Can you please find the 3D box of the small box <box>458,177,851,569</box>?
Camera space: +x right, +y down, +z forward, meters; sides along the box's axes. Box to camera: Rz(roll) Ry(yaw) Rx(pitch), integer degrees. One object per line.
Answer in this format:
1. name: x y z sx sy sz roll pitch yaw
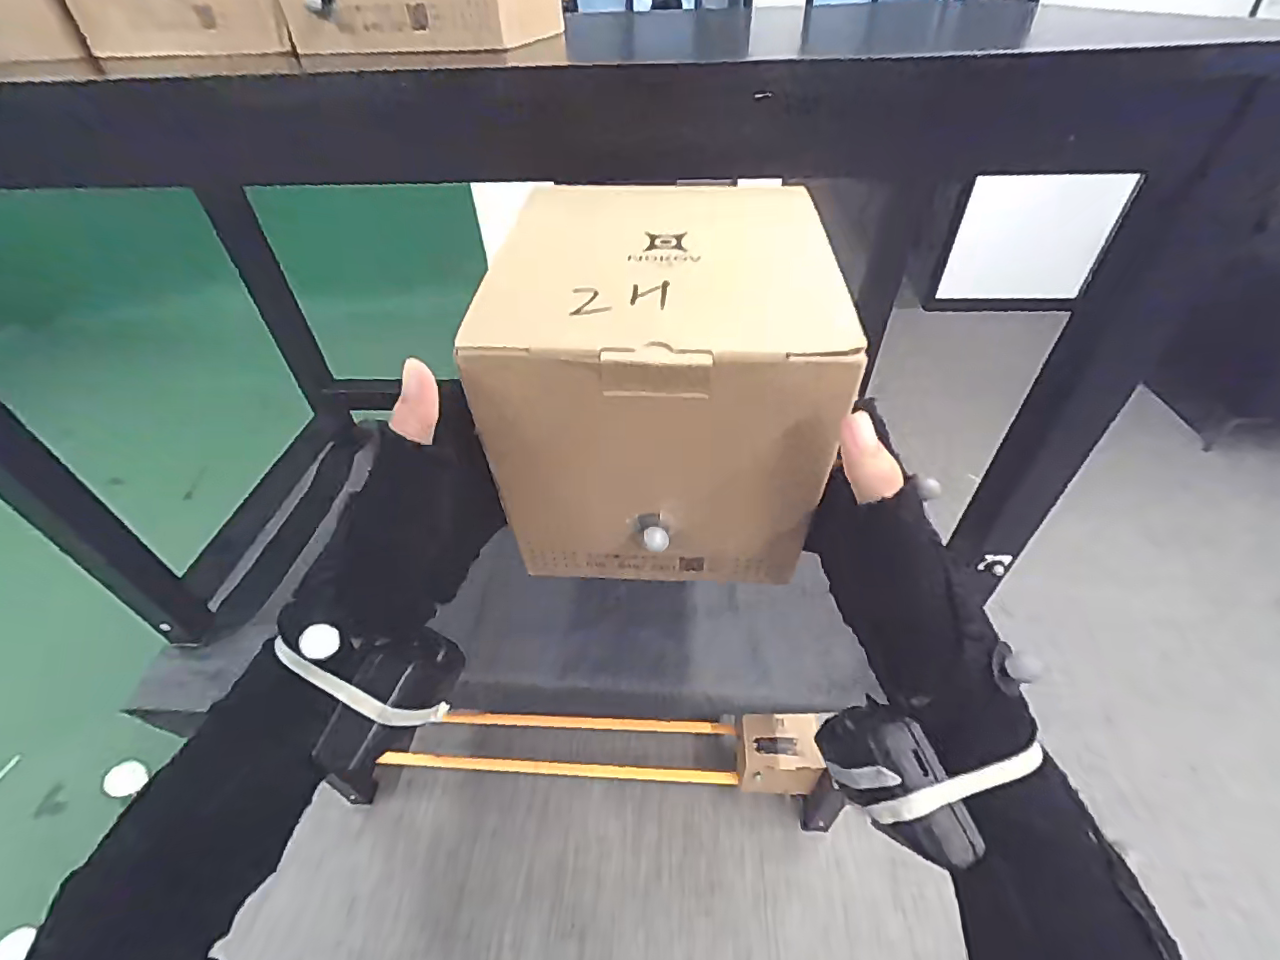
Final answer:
1. small box: 0.012 -0.067 0.335 0.168 0.176 0.179 1 48 4
